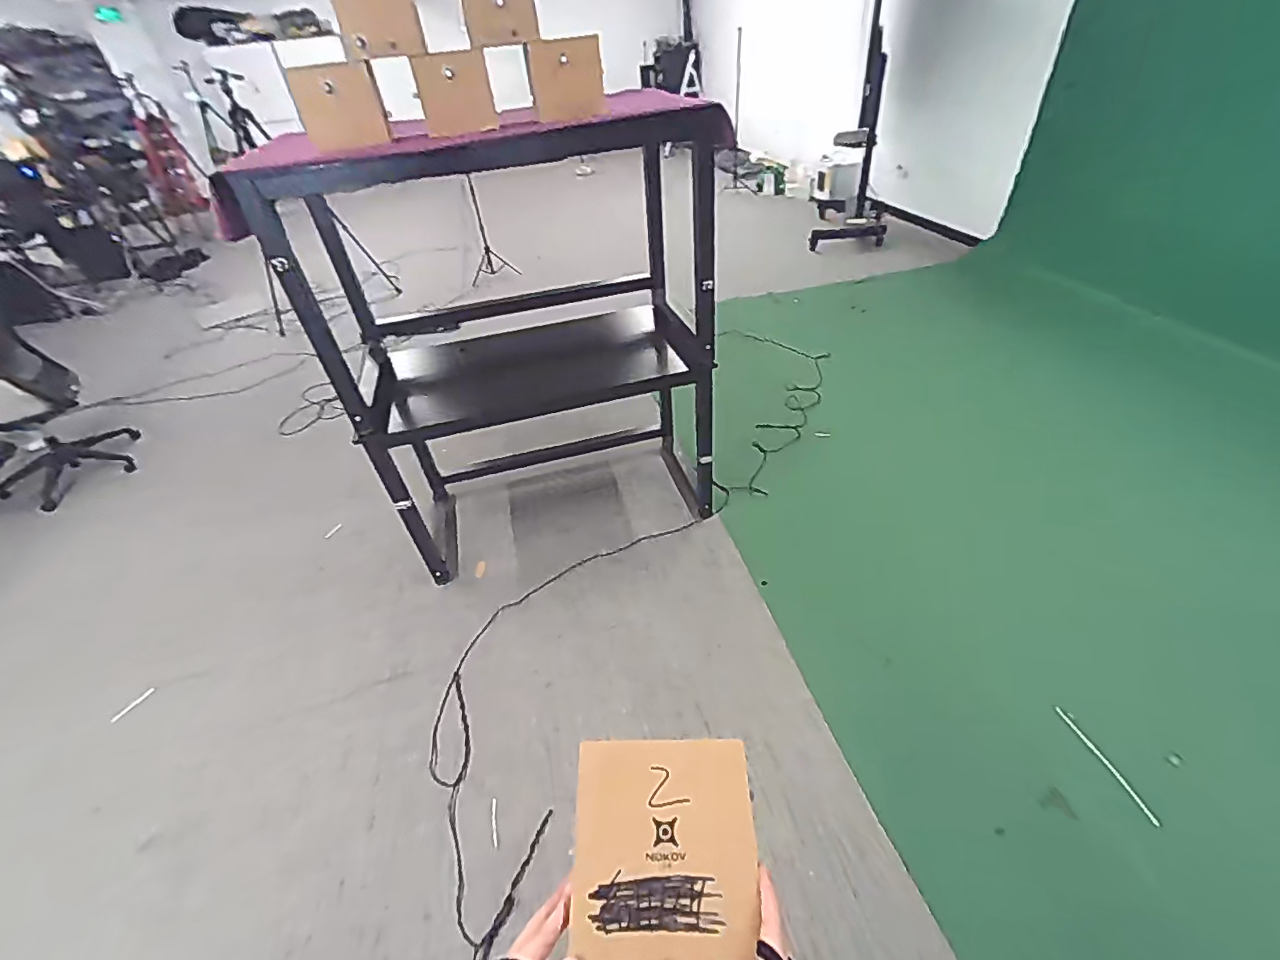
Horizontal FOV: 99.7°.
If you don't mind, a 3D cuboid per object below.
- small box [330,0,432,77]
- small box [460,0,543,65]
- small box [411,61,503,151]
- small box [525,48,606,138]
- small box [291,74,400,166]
[{"bbox_3d":[-0.596,-1.053,1.259,0.168,0.176,0.179,-12,39,-7],"label":"small box"},{"bbox_3d":[-0.337,-1.112,1.297,0.168,0.176,0.179,-13,40,-8],"label":"small box"},{"bbox_3d":[-0.457,-0.946,1.370,0.179,0.176,0.168,-13,40,-8],"label":"small box"},{"bbox_3d":[-0.190,-1.012,1.413,0.179,0.176,0.168,-14,39,-7],"label":"small box"},{"bbox_3d":[-0.718,-0.891,1.338,0.179,0.176,0.168,-15,41,-10],"label":"small box"}]
